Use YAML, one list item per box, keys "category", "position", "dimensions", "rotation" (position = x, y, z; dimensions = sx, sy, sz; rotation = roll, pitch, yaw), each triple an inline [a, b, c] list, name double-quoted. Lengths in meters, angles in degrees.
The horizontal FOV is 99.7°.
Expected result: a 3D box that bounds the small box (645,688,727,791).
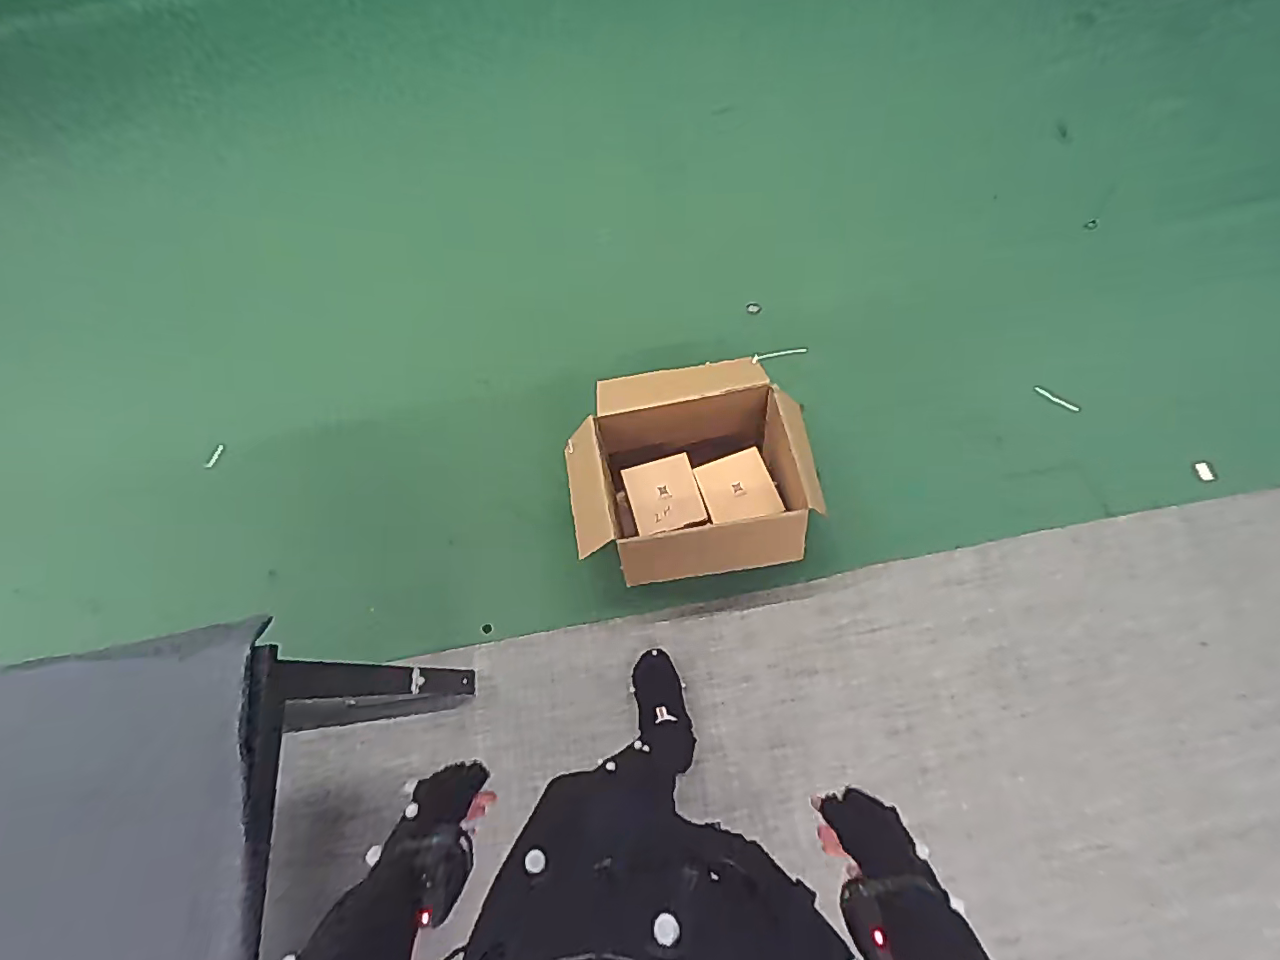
- category: "small box"
  position: [0.099, 0.570, 1.205]
  dimensions: [0.168, 0.176, 0.179]
  rotation: [4, 73, 1]
